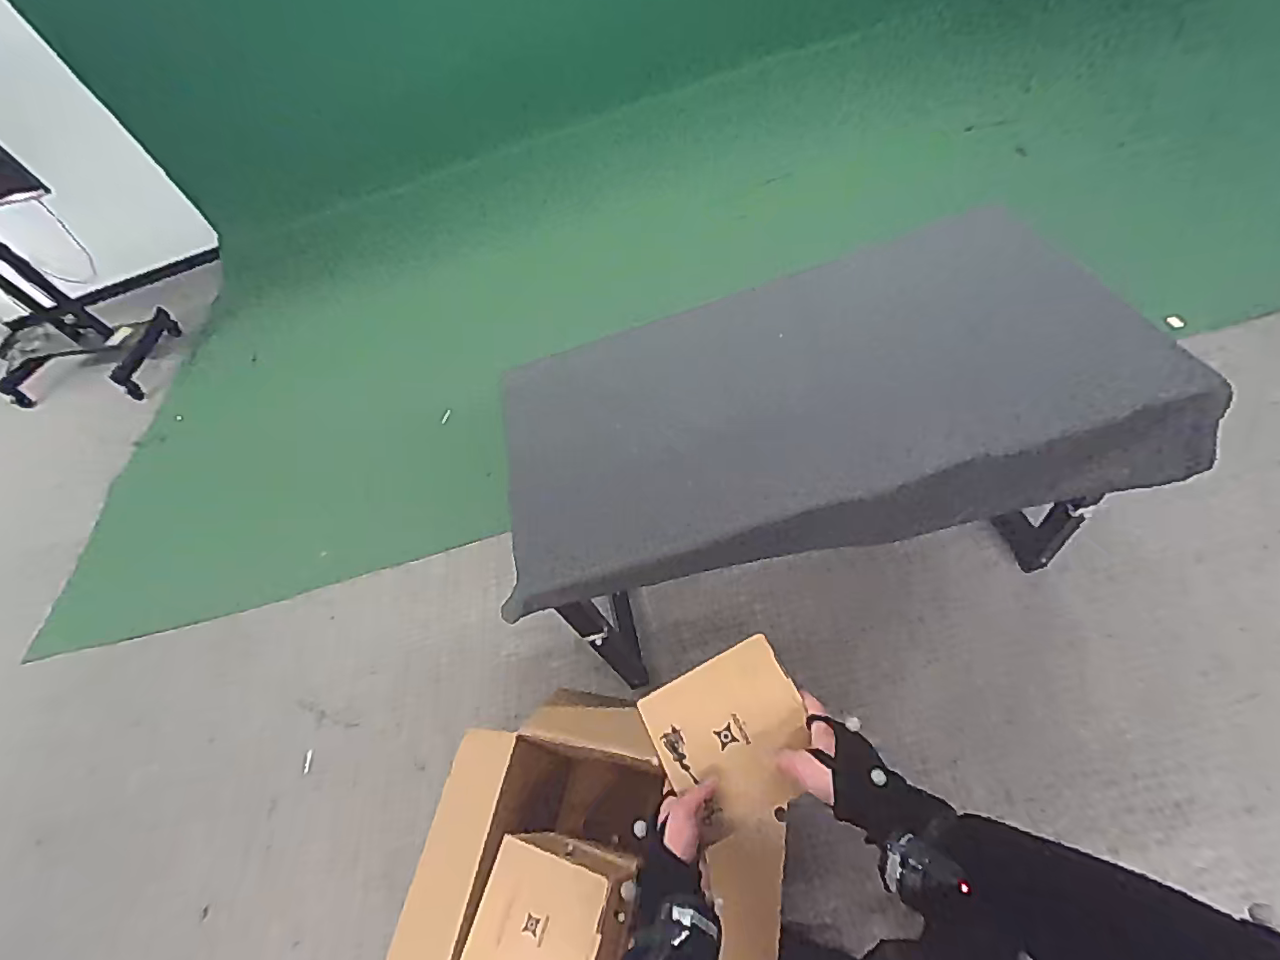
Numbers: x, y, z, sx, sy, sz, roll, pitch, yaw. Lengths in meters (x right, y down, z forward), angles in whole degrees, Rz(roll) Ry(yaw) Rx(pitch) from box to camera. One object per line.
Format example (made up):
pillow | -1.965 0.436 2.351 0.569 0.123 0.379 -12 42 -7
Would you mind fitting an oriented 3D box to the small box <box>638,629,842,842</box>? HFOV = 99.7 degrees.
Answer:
small box | 0.120 0.313 0.672 0.179 0.176 0.168 -28 58 -2
